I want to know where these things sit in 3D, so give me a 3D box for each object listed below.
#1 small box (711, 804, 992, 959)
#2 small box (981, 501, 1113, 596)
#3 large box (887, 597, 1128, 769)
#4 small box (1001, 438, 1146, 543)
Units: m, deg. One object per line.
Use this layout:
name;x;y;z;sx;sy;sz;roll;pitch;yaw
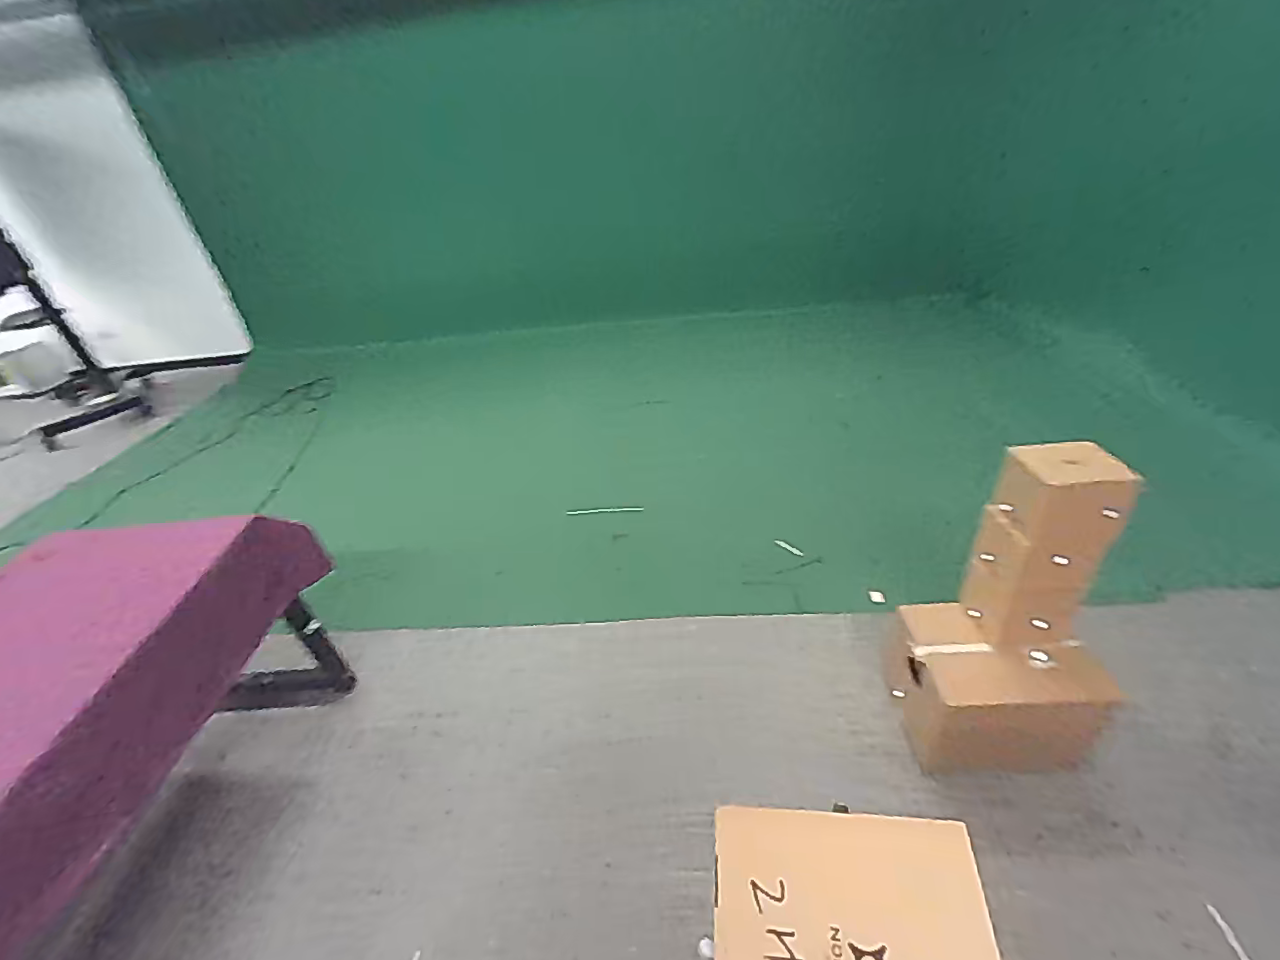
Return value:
small box;0.143;0.357;0.403;0.179;0.176;0.168;-2;48;9
small box;0.958;0.159;1.292;0.179;0.176;0.168;-5;32;5
large box;0.945;0.545;1.459;0.408;0.320;0.320;-4;35;4
small box;0.946;0.025;1.200;0.179;0.176;0.168;-5;31;7
